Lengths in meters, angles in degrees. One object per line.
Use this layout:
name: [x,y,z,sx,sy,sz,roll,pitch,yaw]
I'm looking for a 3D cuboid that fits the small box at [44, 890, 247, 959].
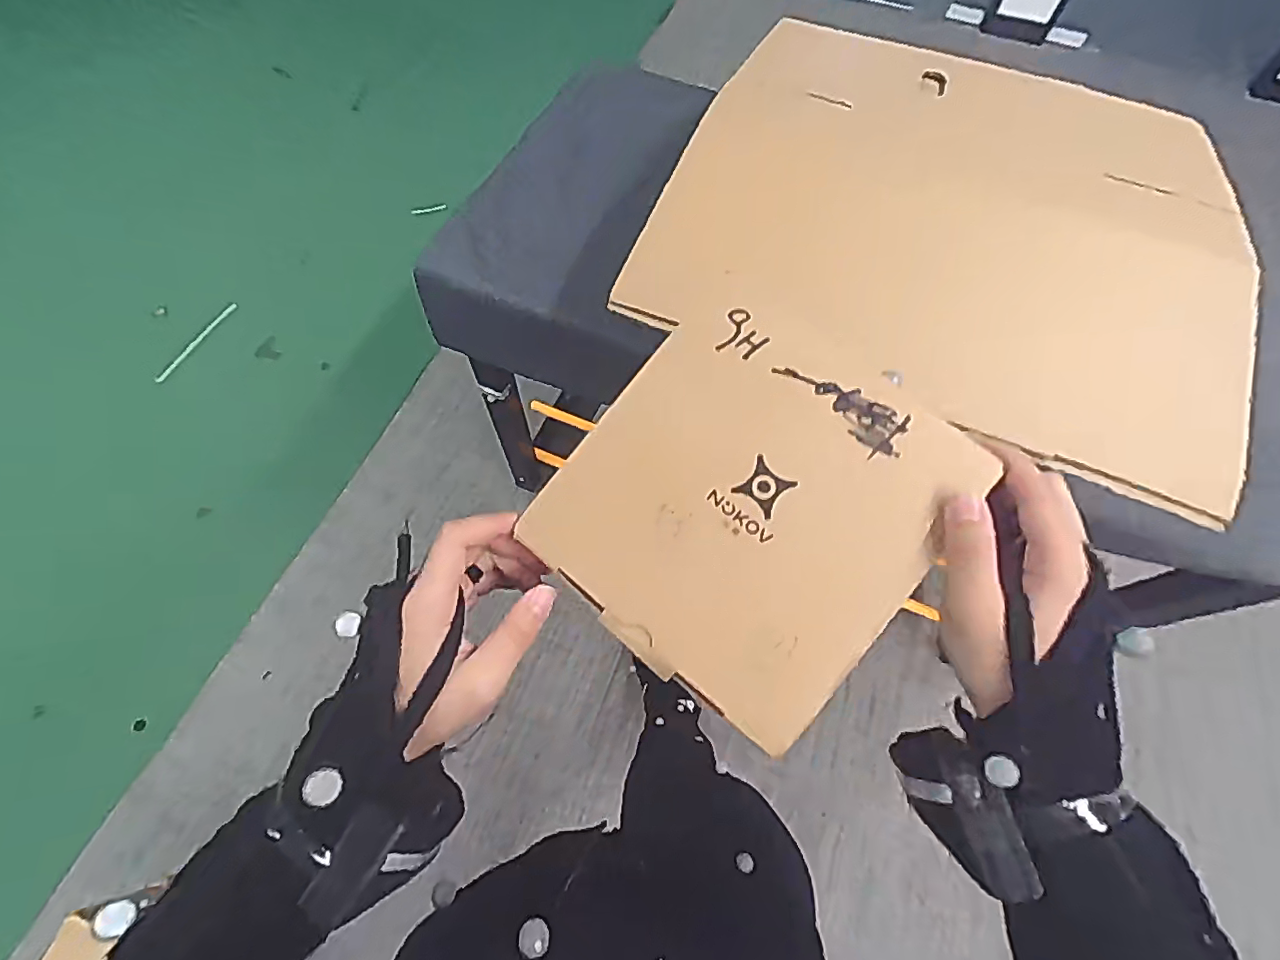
small box: [-0.734,0.729,0.779,0.179,0.176,0.168,20,66,6]
